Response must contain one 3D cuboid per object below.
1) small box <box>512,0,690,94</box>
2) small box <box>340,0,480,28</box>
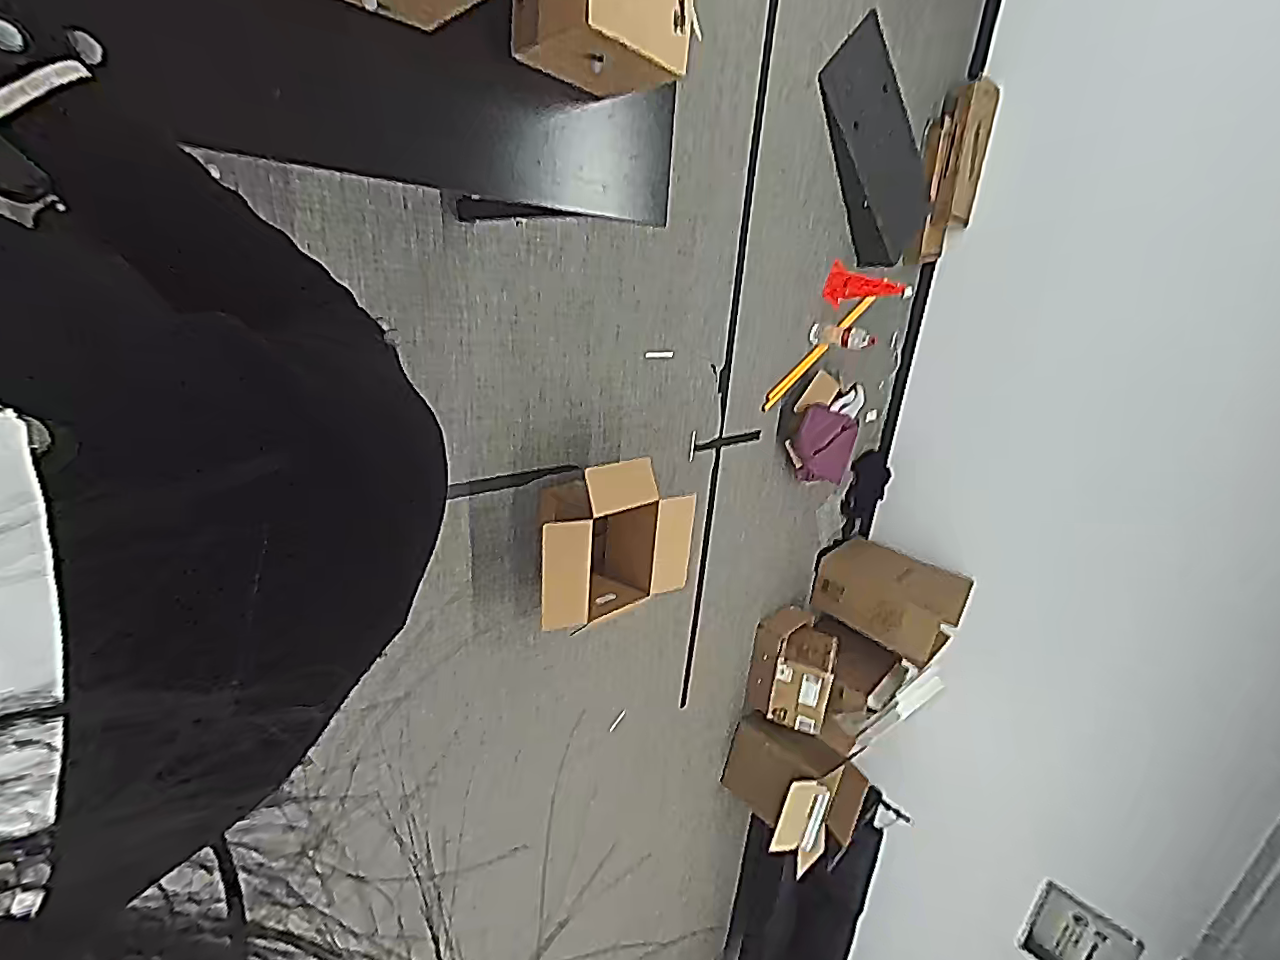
[{"bbox_3d":[-0.053,-0.639,0.712,0.179,0.176,0.168,-11,115,-42],"label":"small box"},{"bbox_3d":[-0.257,-0.589,0.525,0.168,0.176,0.179,-14,118,-41],"label":"small box"}]
